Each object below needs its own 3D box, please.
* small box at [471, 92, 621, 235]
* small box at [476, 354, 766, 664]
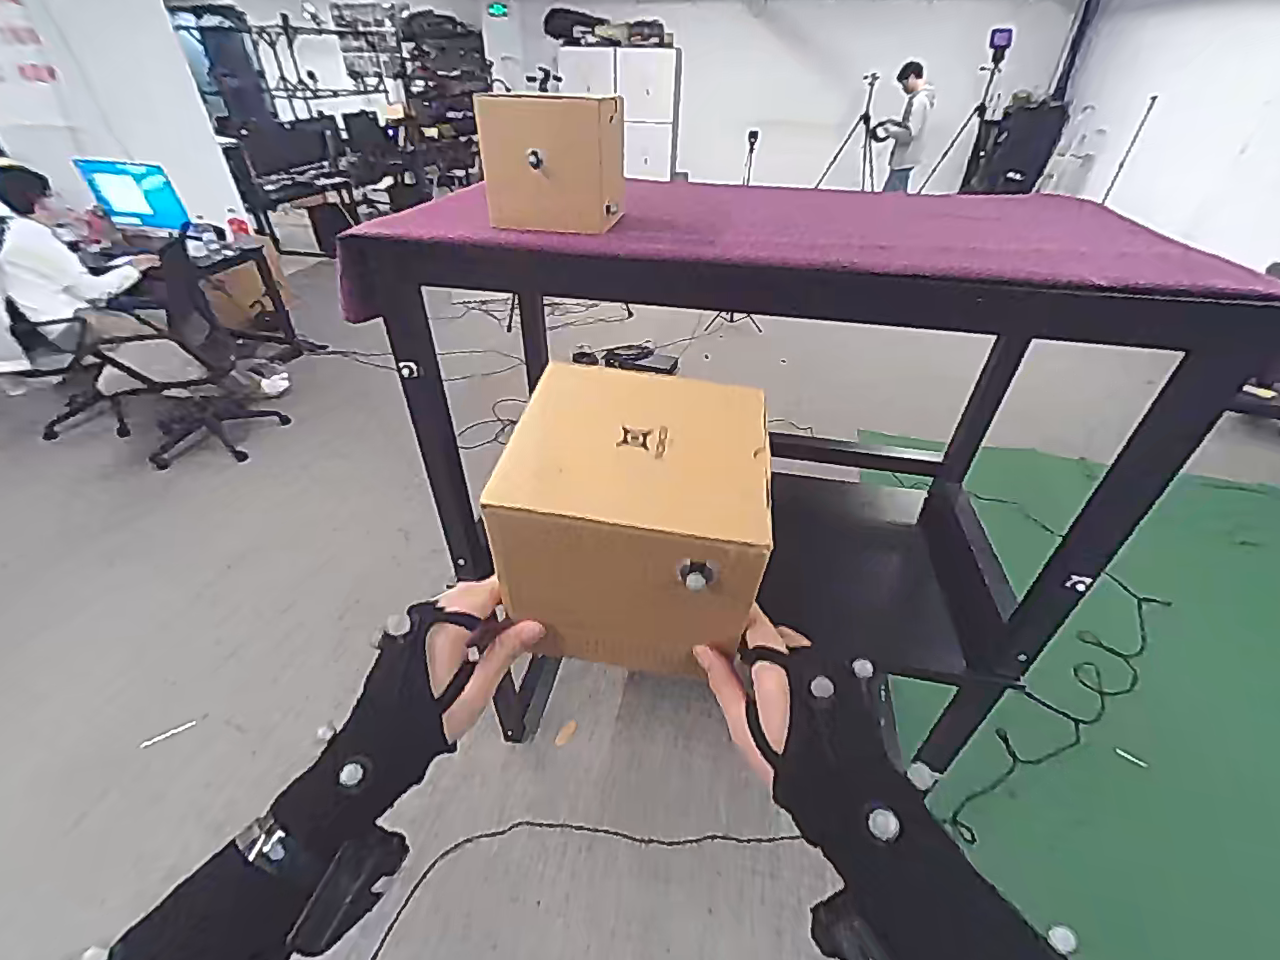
[{"bbox_3d":[-0.128,-0.478,0.817,0.179,0.176,0.168,6,37,8],"label":"small box"},{"bbox_3d":[-0.006,0.024,0.426,0.179,0.176,0.168,8,44,3],"label":"small box"}]
